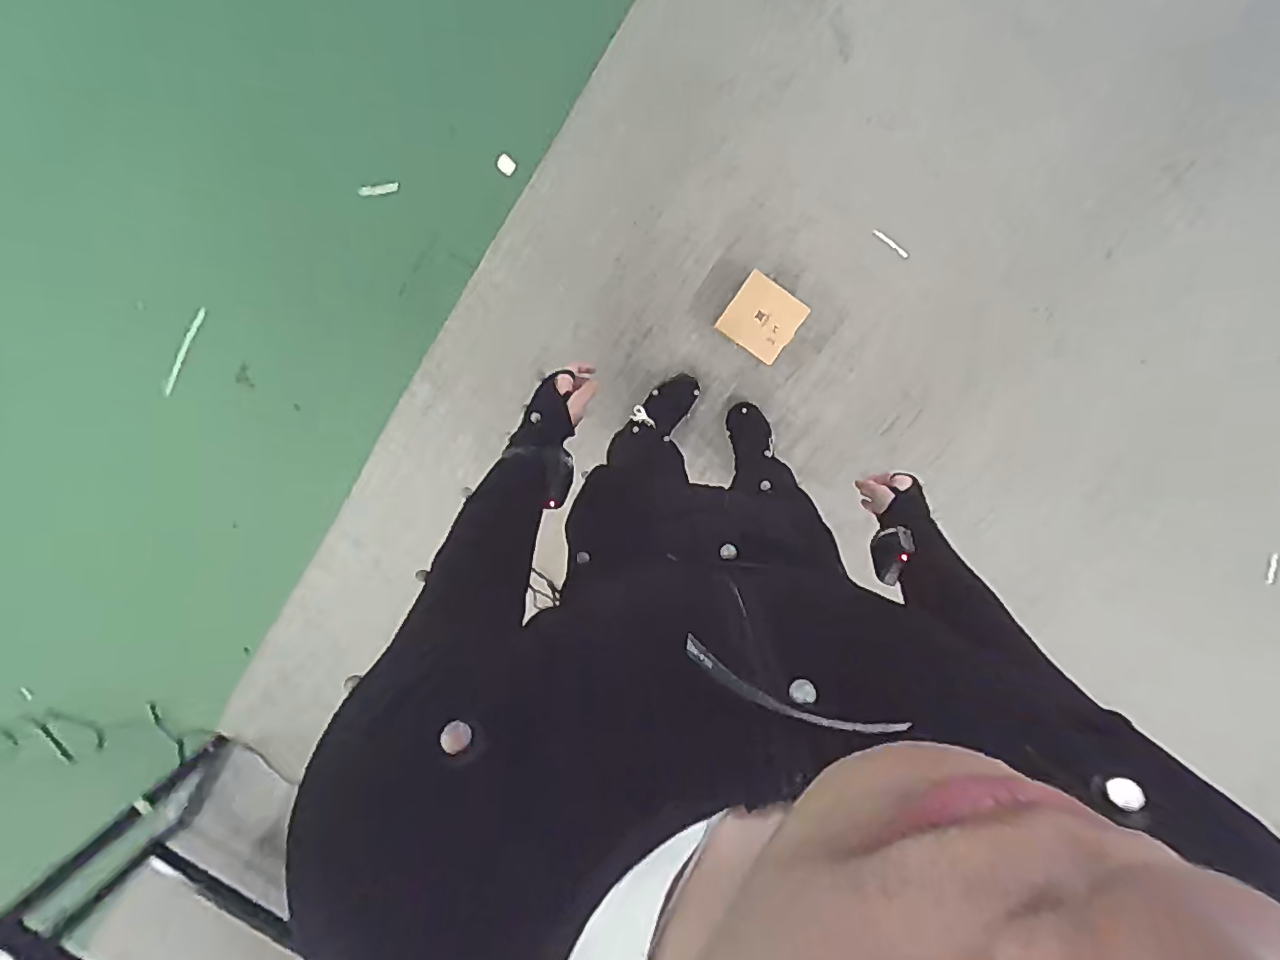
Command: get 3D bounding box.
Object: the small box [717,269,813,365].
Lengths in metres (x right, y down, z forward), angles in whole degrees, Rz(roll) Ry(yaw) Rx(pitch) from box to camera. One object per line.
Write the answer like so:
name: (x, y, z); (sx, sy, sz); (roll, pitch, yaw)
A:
small box: (0.314, -0.416, 1.408); (0.179, 0.176, 0.168); (36, 105, -3)
